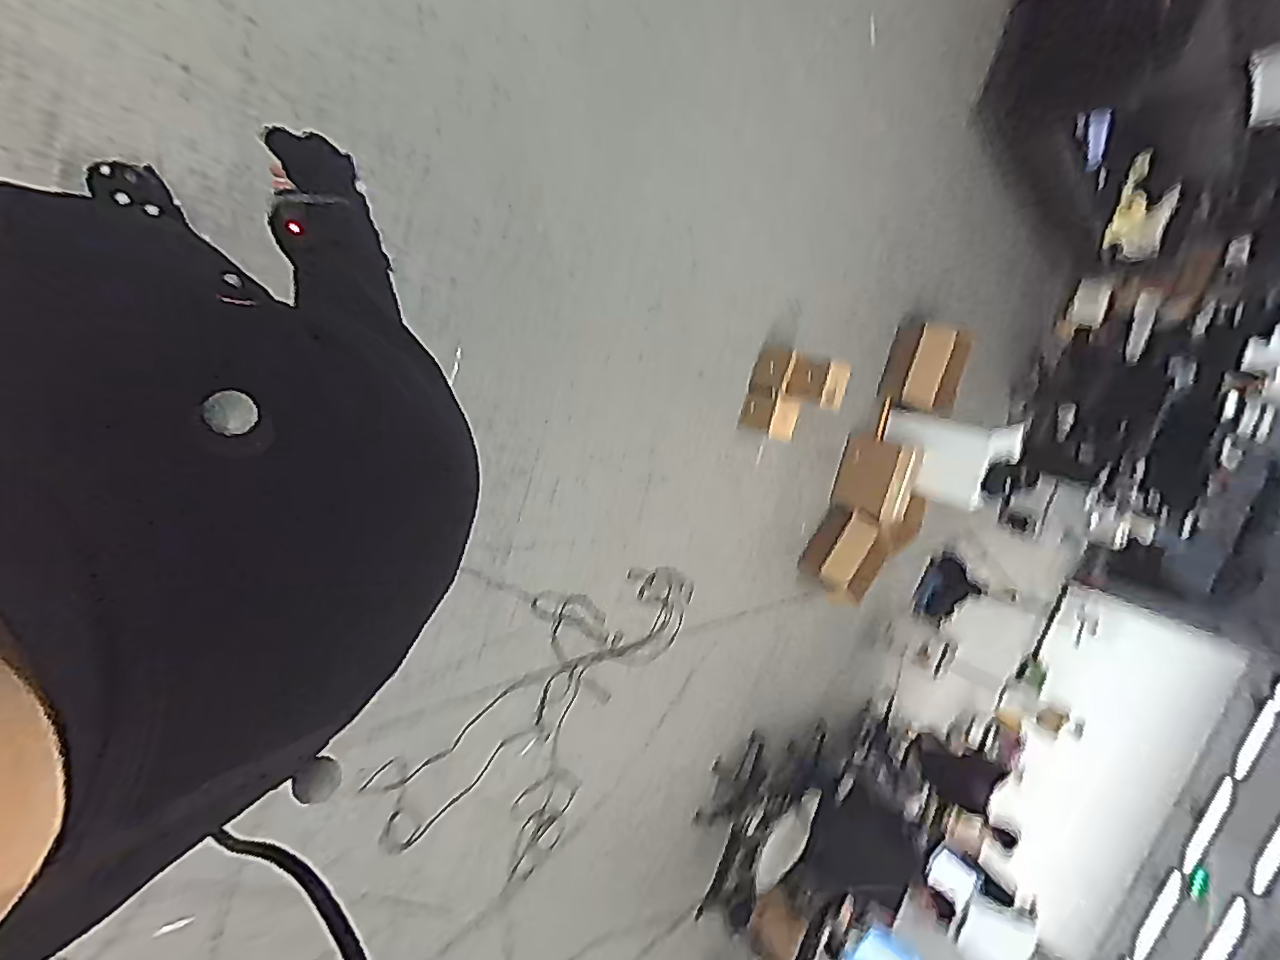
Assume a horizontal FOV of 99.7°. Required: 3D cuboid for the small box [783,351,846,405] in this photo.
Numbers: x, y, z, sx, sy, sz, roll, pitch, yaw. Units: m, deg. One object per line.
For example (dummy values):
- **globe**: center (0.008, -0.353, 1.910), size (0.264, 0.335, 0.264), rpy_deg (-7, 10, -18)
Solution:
- **small box**: center (0.716, -0.422, 2.237), size (0.168, 0.176, 0.179), rpy_deg (4, 104, -44)
